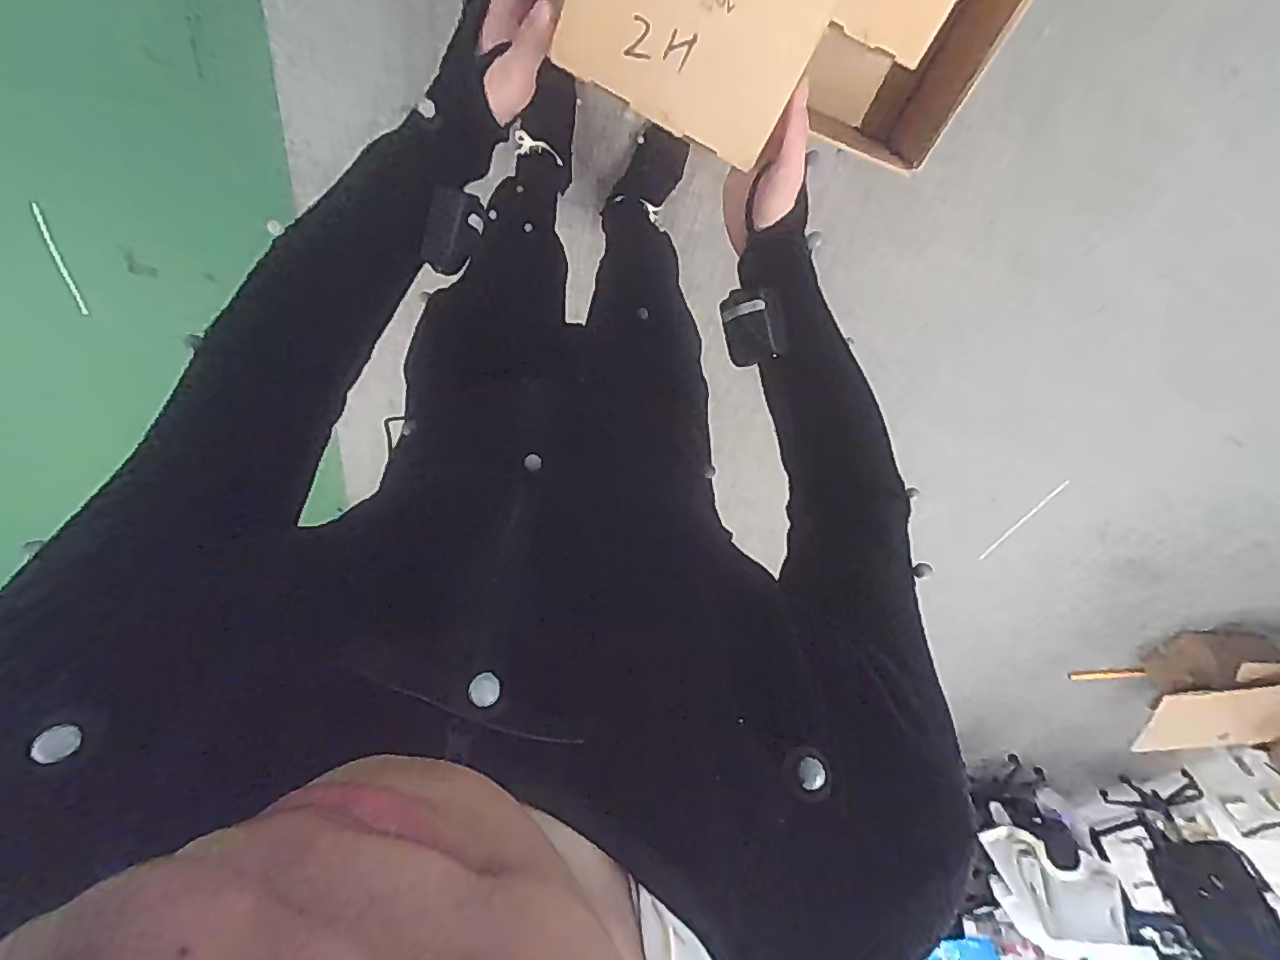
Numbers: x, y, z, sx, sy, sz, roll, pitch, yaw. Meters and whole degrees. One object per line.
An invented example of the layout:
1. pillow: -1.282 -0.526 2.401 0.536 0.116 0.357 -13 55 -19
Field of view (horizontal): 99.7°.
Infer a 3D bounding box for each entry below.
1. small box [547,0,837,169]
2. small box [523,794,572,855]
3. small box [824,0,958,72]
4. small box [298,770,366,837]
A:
1. small box: 0.034 -0.367 0.393 0.168 0.176 0.179 16 124 -22
2. small box: -0.361 1.352 2.122 0.168 0.176 0.179 9 134 -5
3. small box: 0.288 -0.627 0.634 0.168 0.176 0.179 16 134 -13
4. small box: -1.139 1.205 2.014 0.168 0.176 0.179 12 133 -11
